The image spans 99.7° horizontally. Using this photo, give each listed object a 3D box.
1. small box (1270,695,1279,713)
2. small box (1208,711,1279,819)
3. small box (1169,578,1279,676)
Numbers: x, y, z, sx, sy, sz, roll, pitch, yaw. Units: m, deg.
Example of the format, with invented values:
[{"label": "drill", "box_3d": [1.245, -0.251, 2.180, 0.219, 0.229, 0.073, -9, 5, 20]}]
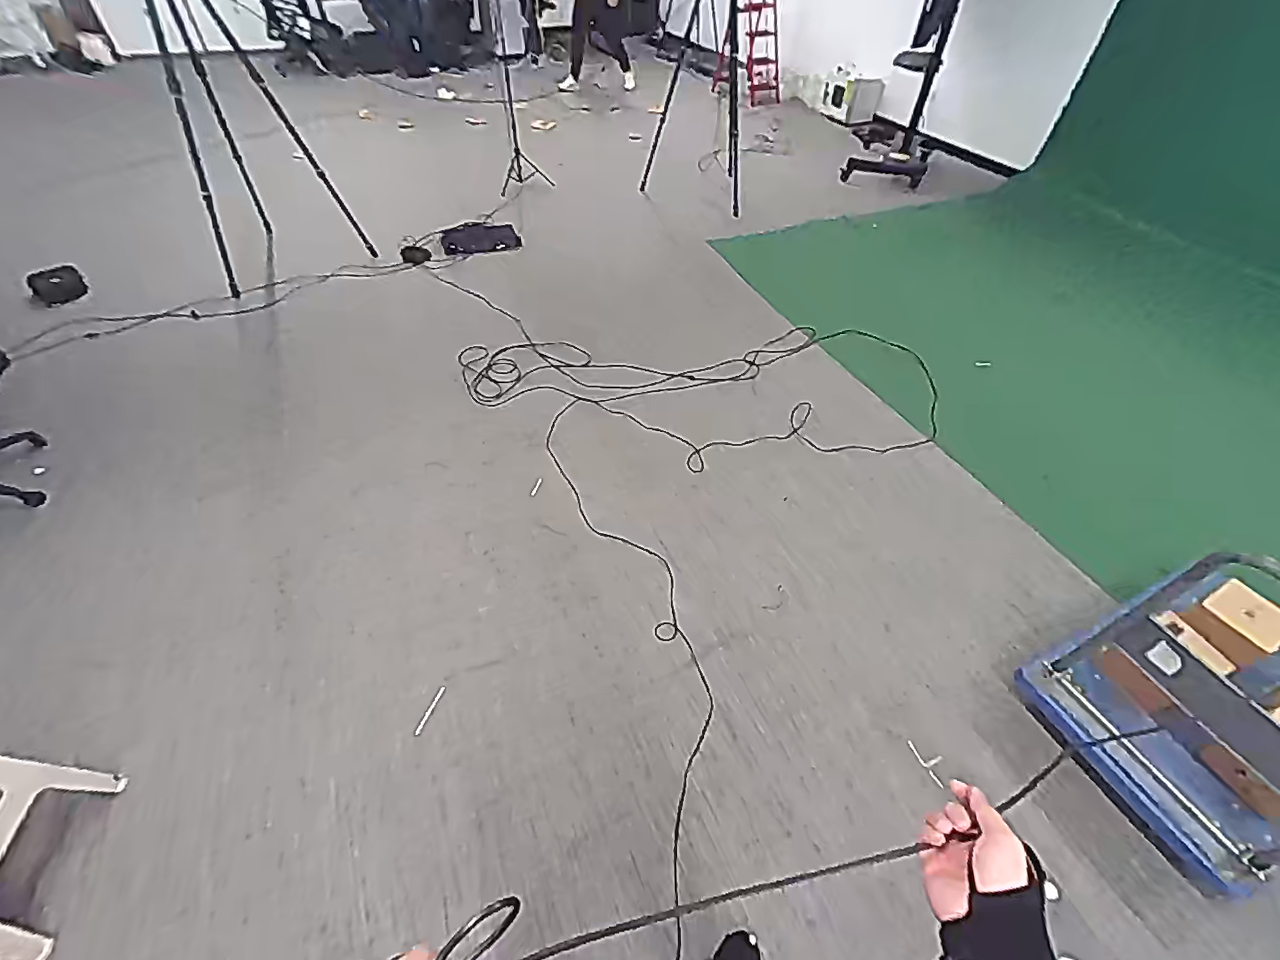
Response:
[{"label": "small box", "box_3d": [1.759, 0.571, 1.344, 0.179, 0.176, 0.168, -23, 51, -19]}, {"label": "small box", "box_3d": [1.516, 0.657, 1.265, 0.179, 0.176, 0.168, -19, 51, -16]}, {"label": "small box", "box_3d": [1.634, 0.410, 1.491, 0.179, 0.176, 0.168, -22, 52, -20]}]
